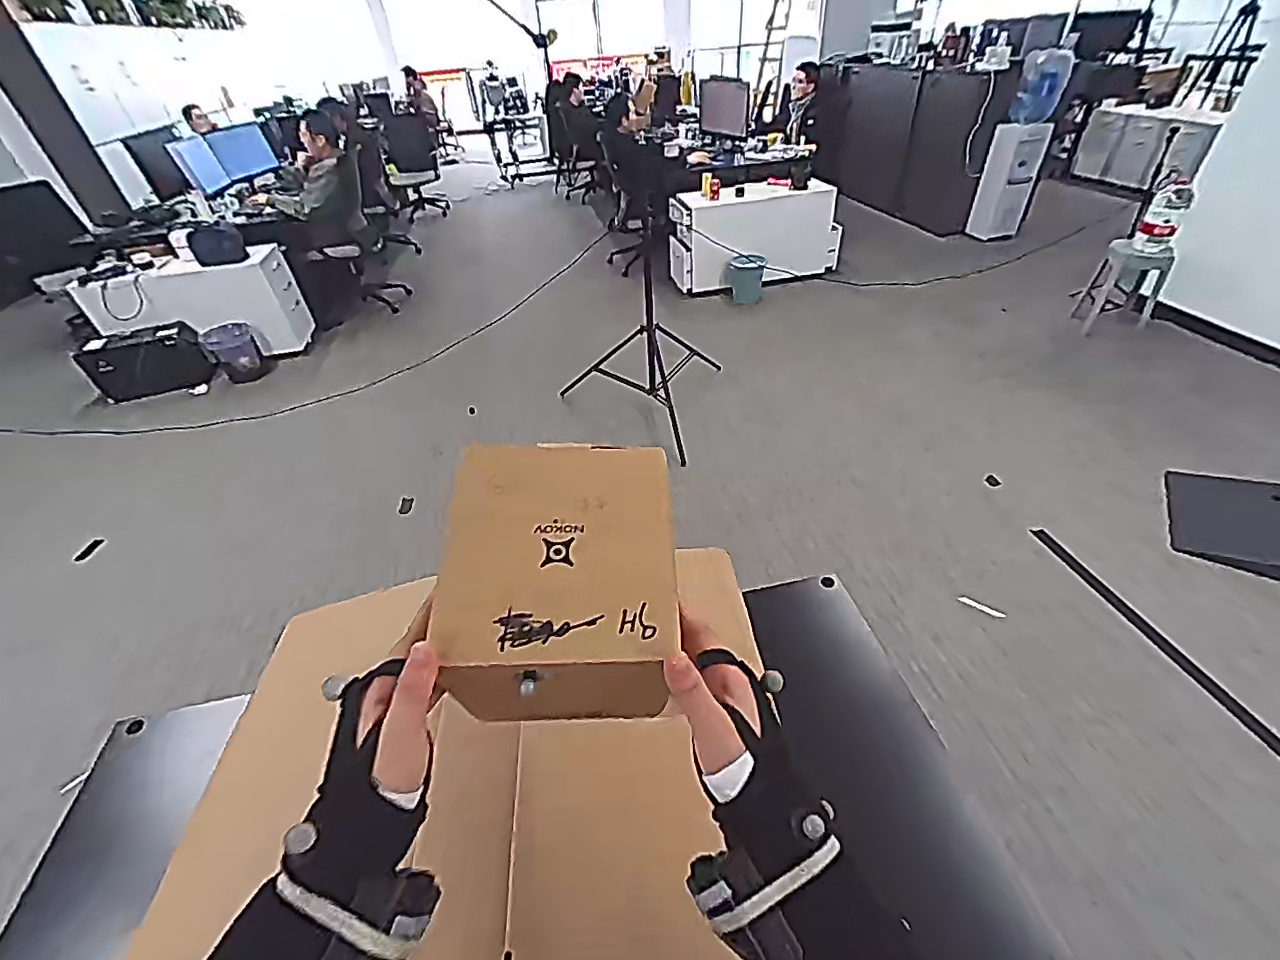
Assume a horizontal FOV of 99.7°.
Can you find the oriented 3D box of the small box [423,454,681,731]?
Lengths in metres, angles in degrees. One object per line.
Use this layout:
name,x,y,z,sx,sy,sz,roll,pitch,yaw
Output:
small box,-0.061,0.096,0.453,0.168,0.176,0.179,-1,54,-3
